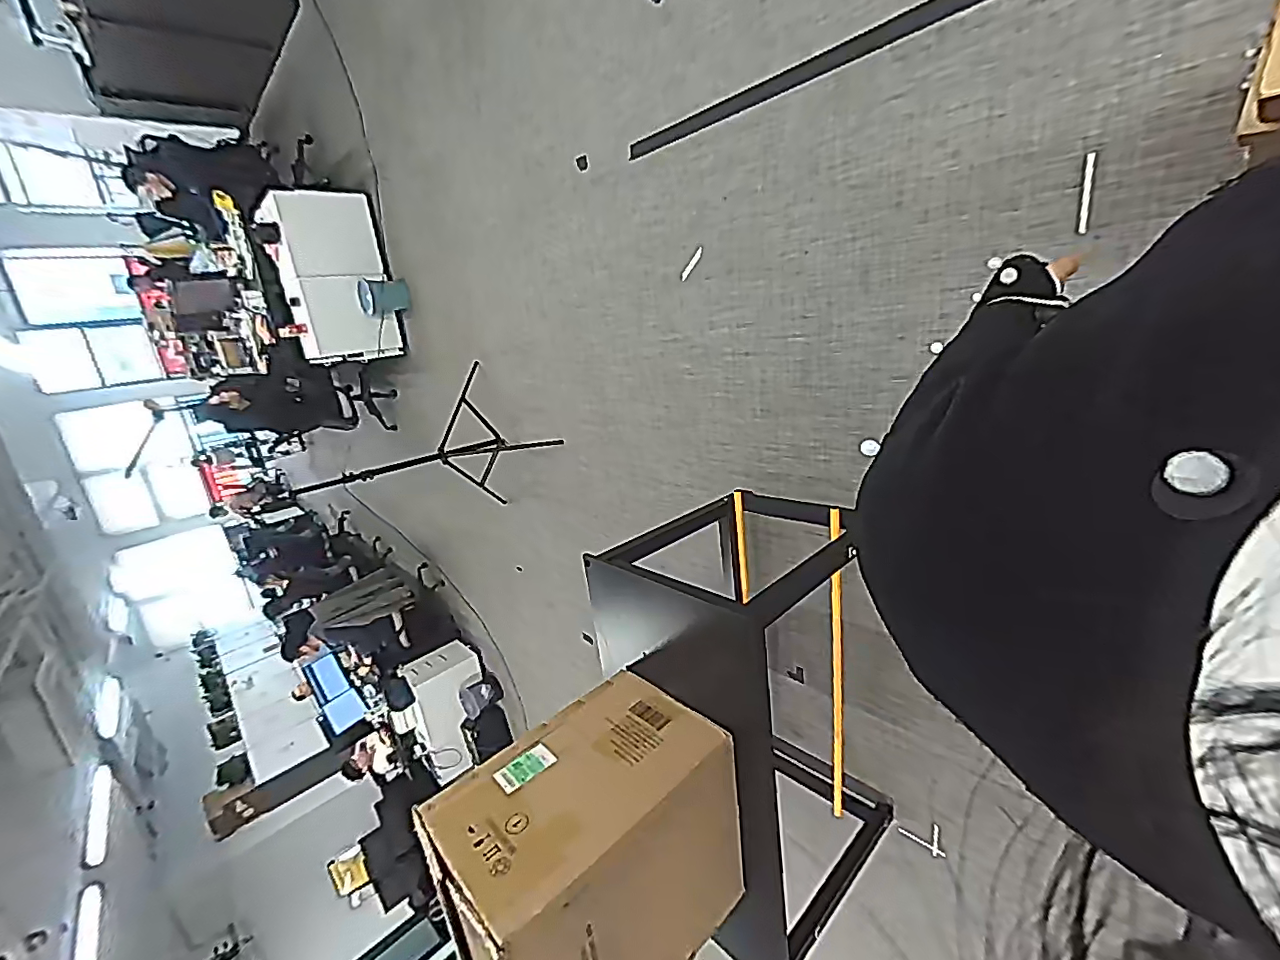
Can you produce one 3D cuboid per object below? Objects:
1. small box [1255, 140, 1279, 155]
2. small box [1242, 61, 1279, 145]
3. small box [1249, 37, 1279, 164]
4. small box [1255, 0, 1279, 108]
[{"bbox_3d":[0.935,-0.545,0.699,0.168,0.176,0.179,12,116,46],"label":"small box"},{"bbox_3d":[0.817,-0.492,0.600,0.168,0.176,0.179,19,122,44],"label":"small box"},{"bbox_3d":[1.051,-0.592,0.806,0.179,0.176,0.168,6,112,47],"label":"small box"},{"bbox_3d":[0.703,-0.458,0.486,0.168,0.176,0.179,15,118,46],"label":"small box"}]
